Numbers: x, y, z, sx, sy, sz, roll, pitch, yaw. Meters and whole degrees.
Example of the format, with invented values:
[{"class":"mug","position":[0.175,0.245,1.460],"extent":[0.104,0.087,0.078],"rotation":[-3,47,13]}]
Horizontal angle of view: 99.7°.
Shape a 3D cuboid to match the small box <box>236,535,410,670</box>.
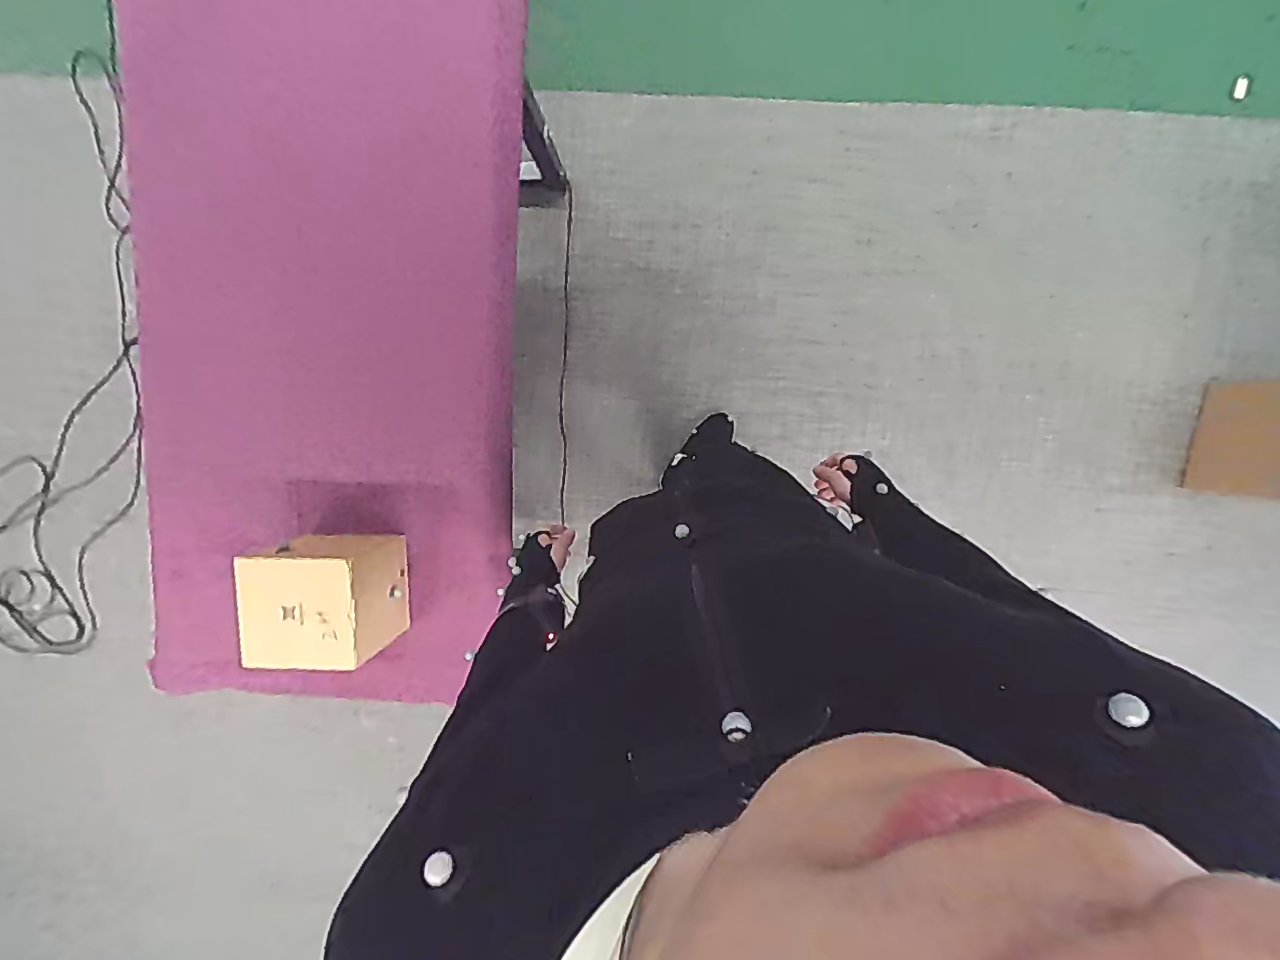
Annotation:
[{"class":"small box","position":[-0.490,0.185,0.857],"extent":[0.179,0.176,0.168],"rotation":[0,96,3]}]
